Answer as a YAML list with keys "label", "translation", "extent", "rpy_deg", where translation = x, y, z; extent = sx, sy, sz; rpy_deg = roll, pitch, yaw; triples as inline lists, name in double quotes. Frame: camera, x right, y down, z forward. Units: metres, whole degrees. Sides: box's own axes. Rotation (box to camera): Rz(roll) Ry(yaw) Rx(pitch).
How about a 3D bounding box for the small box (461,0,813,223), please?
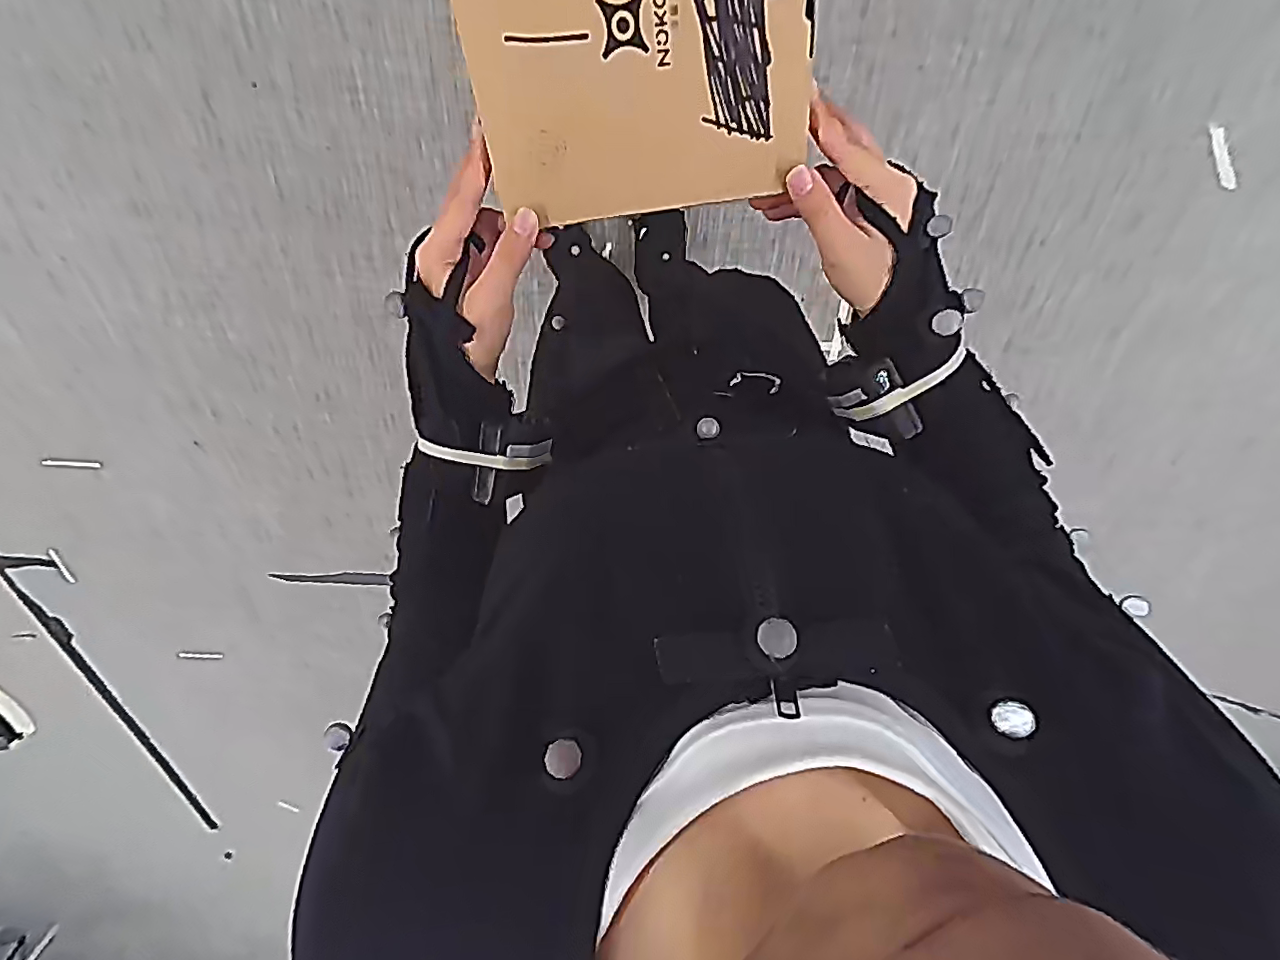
- label: "small box"
  translation: [-0.006, -0.274, 0.333]
  extent: [0.179, 0.176, 0.168]
  rpy_deg: [-8, 126, 0]
